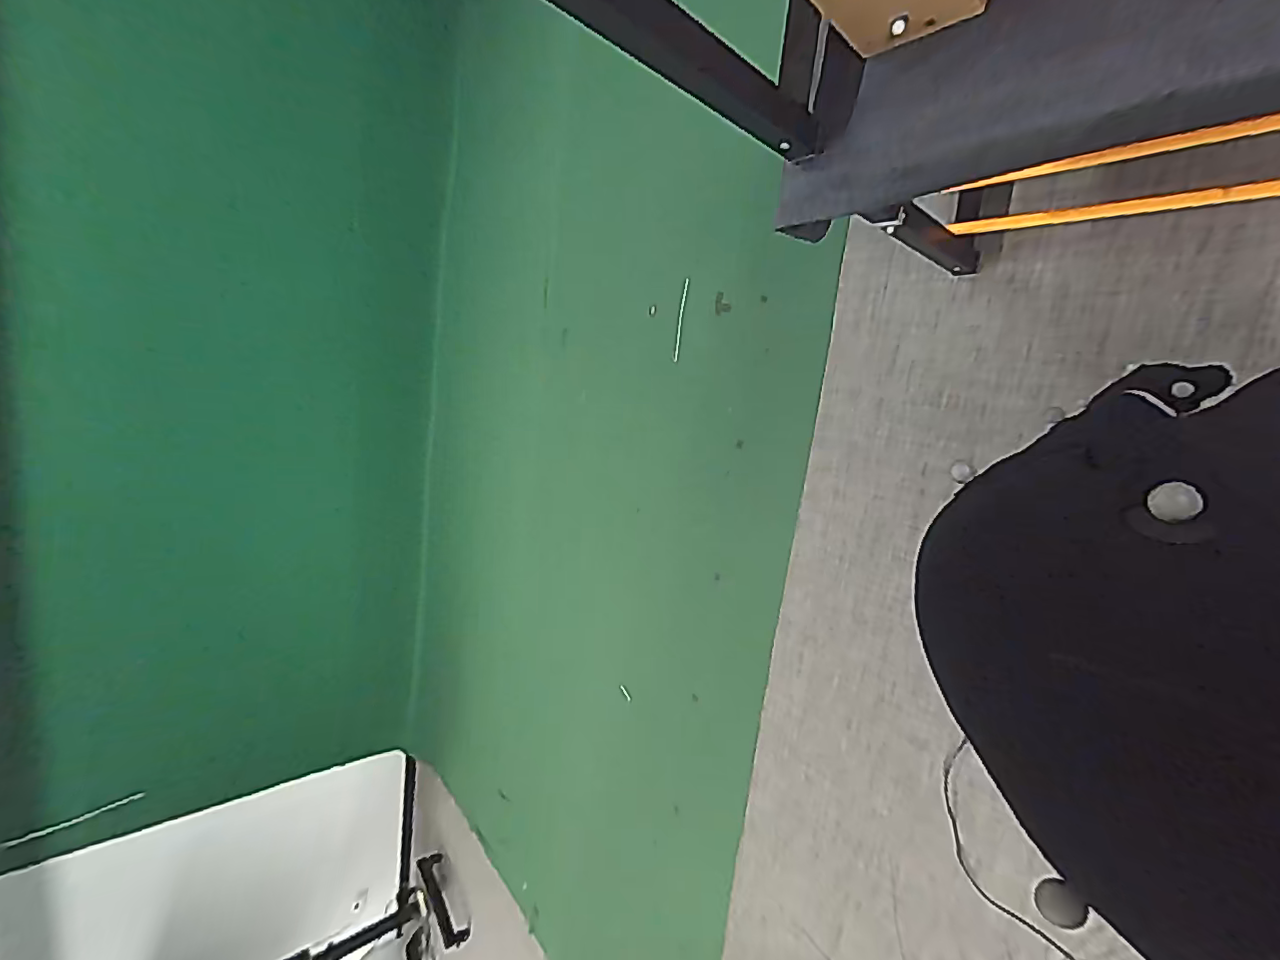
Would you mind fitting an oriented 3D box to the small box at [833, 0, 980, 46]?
[{"bbox_3d":[0.341,-0.713,0.686,0.168,0.176,0.179,16,104,47],"label":"small box"}]
